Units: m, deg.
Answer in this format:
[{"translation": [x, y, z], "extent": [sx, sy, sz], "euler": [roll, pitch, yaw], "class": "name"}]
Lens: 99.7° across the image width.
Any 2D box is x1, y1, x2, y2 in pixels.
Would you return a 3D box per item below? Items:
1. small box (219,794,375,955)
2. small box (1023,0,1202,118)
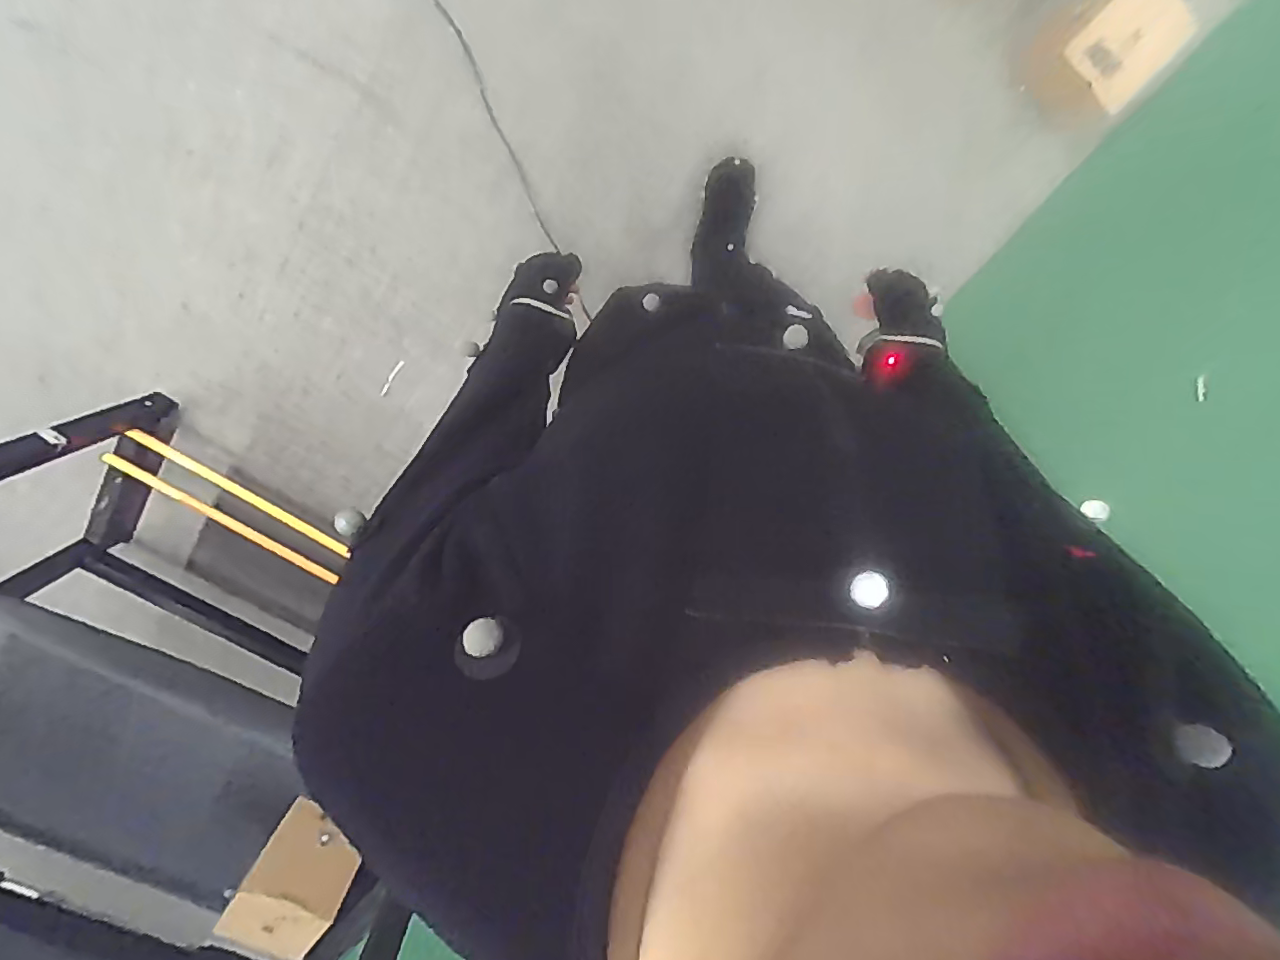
[{"translation": [-0.641, 0.745, 1.030], "extent": [0.168, 0.176, 0.179], "euler": [33, 112, -14], "class": "small box"}, {"translation": [0.893, -0.847, 1.048], "extent": [0.168, 0.176, 0.179], "euler": [37, 110, -15], "class": "small box"}]
